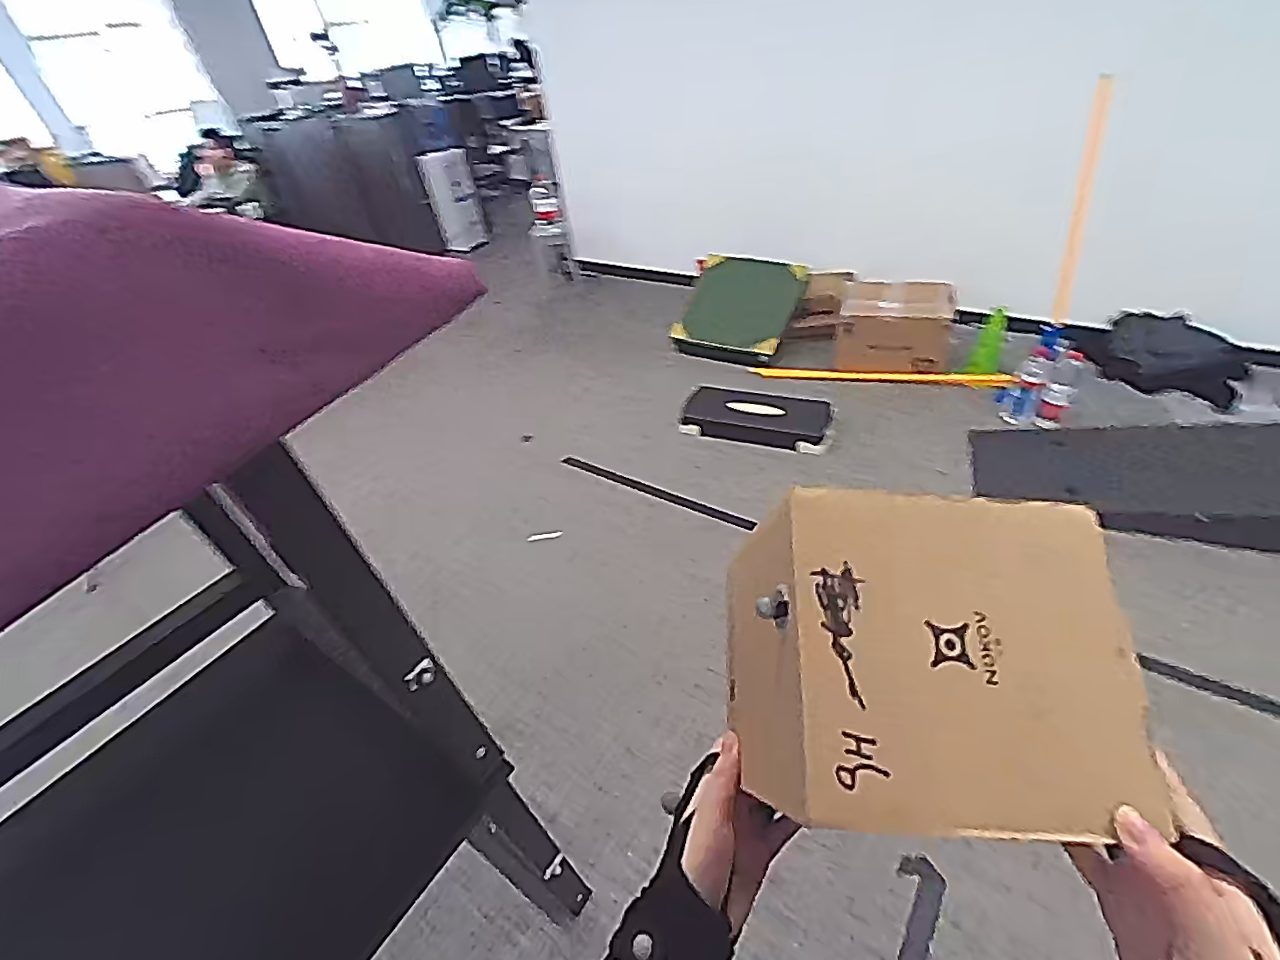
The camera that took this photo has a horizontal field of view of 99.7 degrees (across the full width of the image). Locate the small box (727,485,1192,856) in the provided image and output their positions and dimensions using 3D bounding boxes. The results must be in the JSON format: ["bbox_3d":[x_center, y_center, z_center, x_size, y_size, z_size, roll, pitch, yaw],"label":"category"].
[{"bbox_3d":[0.162,0.118,0.343,0.179,0.176,0.168,6,65,-2],"label":"small box"}]
